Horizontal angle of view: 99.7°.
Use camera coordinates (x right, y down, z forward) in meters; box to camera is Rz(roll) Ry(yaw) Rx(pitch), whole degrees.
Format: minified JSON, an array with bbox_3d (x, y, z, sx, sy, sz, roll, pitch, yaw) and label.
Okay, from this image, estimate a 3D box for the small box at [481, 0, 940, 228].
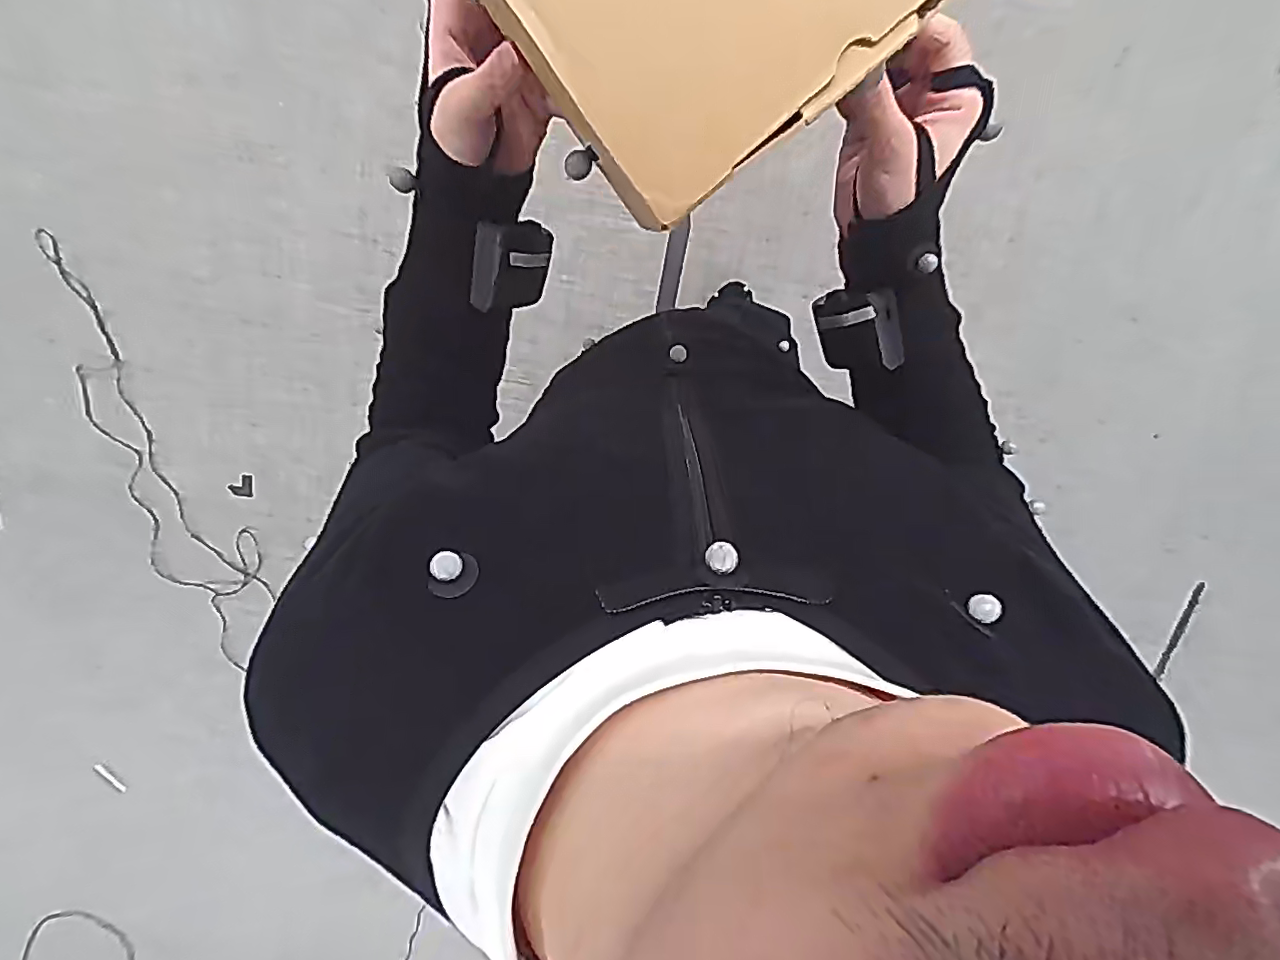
[{"bbox_3d":[0.017,-0.238,0.234,0.168,0.176,0.179,-37,111,13],"label":"small box"}]
